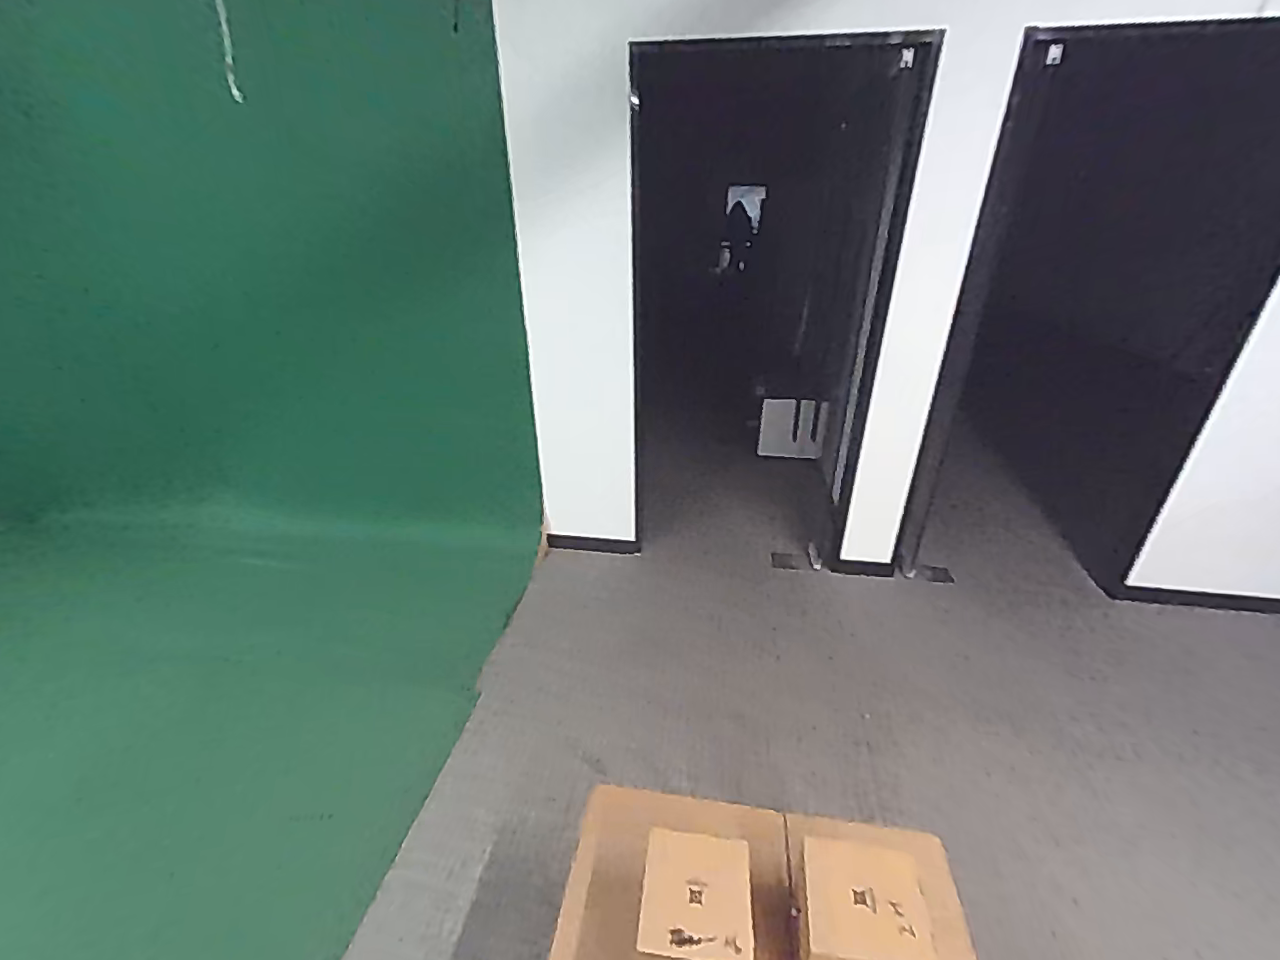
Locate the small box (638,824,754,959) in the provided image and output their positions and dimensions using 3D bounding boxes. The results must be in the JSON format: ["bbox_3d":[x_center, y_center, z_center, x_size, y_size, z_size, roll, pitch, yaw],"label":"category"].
[{"bbox_3d":[0.091,0.695,0.861,0.168,0.176,0.179,2,26,8],"label":"small box"}]

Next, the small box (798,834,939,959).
[{"bbox_3d":[0.344,0.701,0.848,0.179,0.176,0.168,4,27,12],"label":"small box"}]
